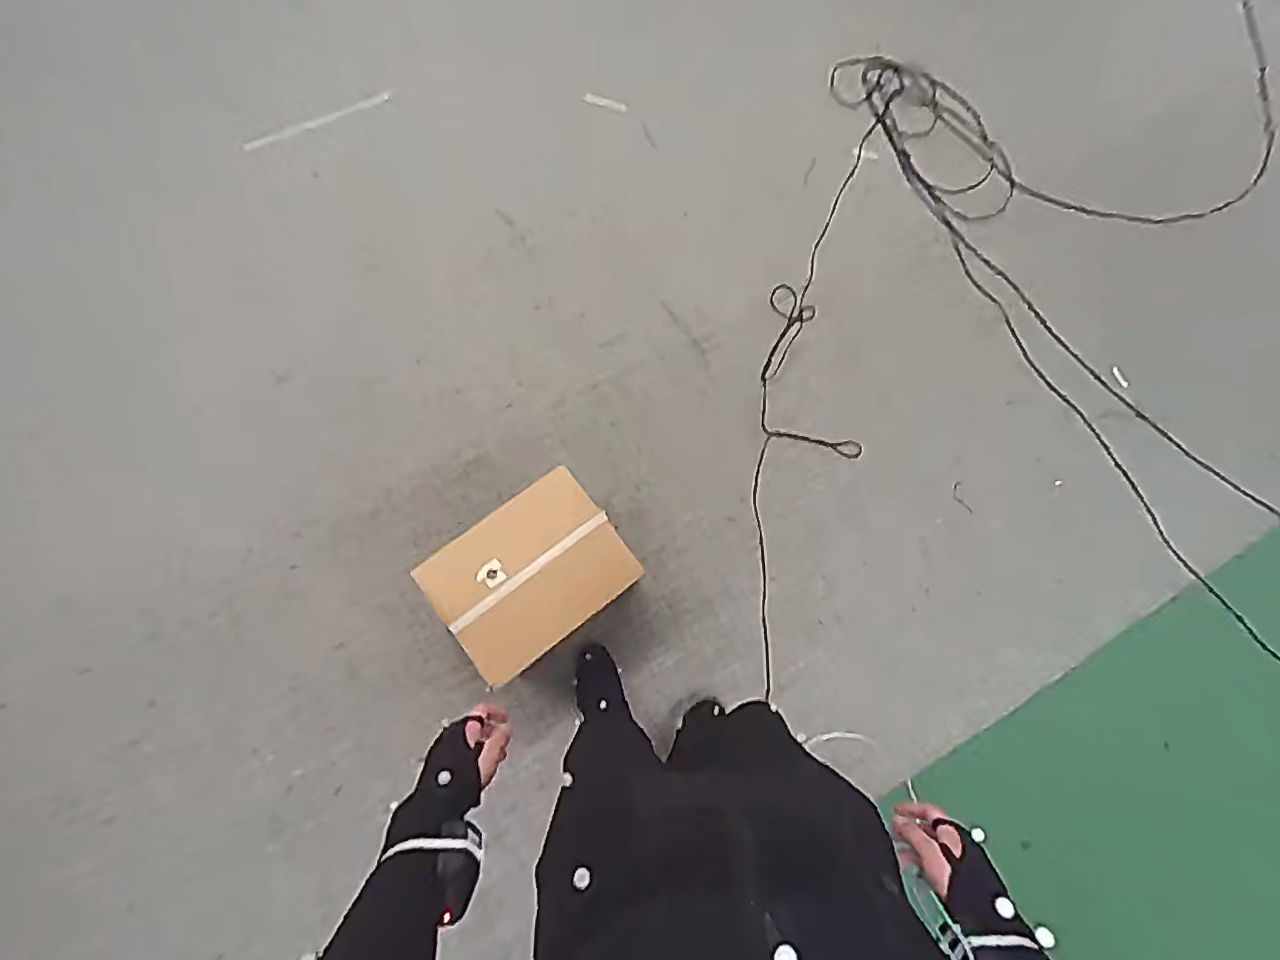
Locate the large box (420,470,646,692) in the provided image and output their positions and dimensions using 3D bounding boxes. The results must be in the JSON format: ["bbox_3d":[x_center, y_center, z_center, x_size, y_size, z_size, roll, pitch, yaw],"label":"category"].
[{"bbox_3d":[-0.239,0.238,1.324,0.408,0.320,0.320,-37,82,-10],"label":"large box"}]
